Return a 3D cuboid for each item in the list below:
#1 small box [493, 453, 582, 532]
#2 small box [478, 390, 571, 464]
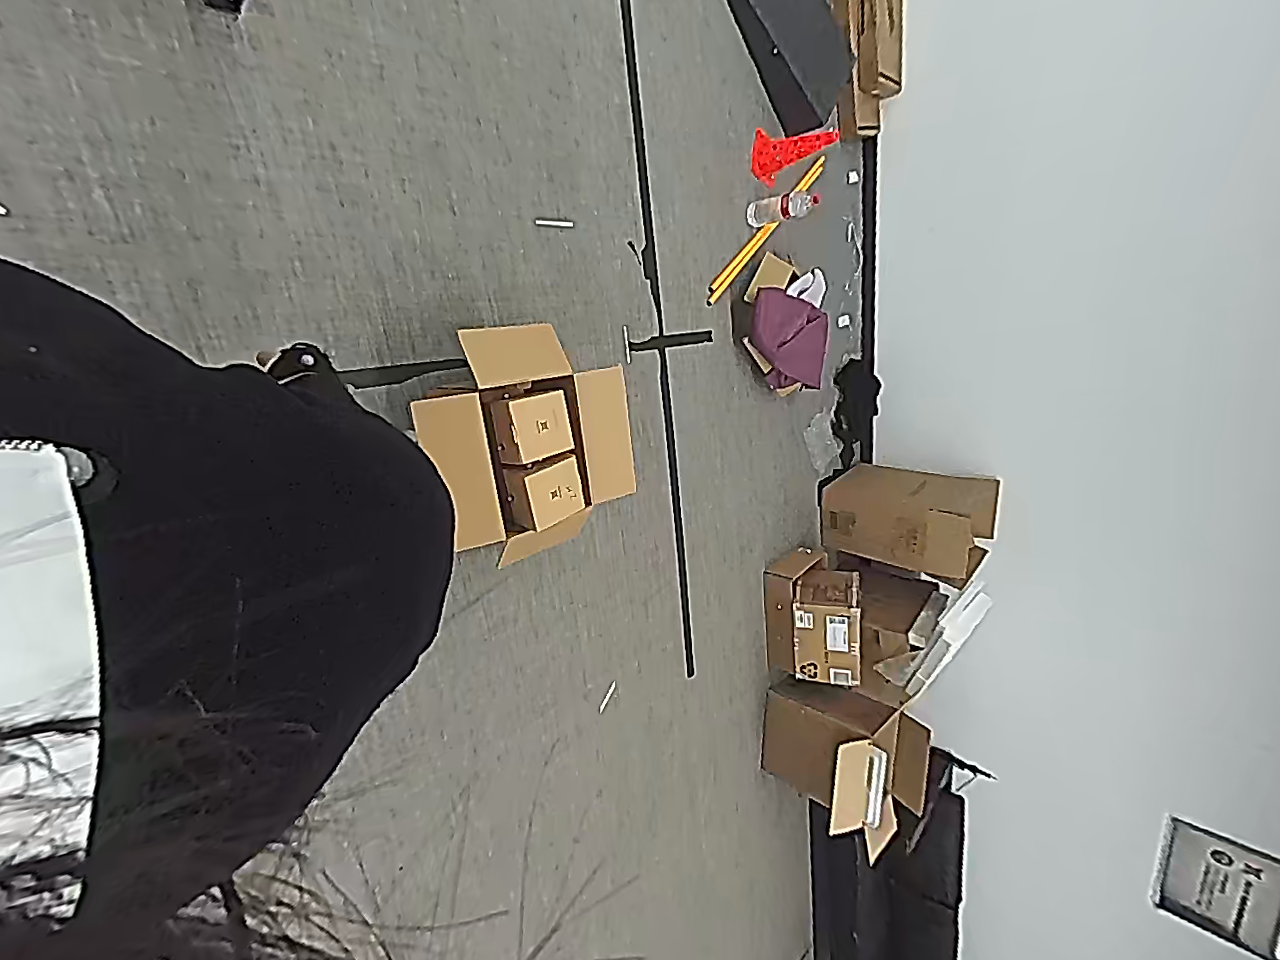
[{"bbox_3d":[-0.295,0.023,1.528,0.179,0.176,0.168,-28,121,-39],"label":"small box"},{"bbox_3d":[-0.321,-0.146,1.472,0.179,0.176,0.168,-25,112,-42],"label":"small box"}]
